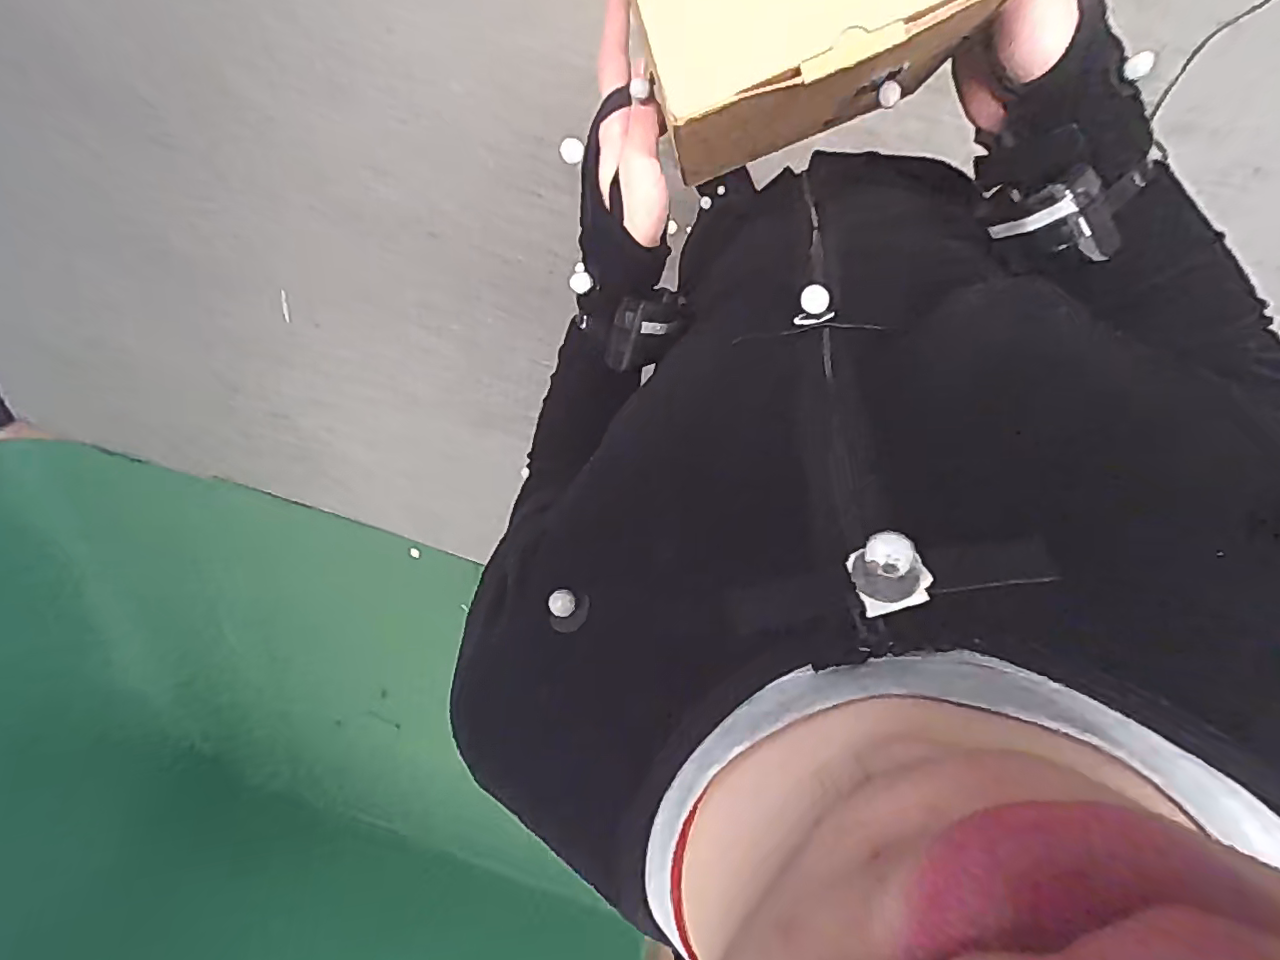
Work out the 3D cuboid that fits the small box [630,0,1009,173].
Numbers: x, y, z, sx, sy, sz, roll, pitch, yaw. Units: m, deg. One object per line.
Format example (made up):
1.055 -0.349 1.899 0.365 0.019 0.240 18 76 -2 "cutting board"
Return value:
0.074 -0.290 0.291 0.168 0.176 0.179 -17 106 12 "small box"
